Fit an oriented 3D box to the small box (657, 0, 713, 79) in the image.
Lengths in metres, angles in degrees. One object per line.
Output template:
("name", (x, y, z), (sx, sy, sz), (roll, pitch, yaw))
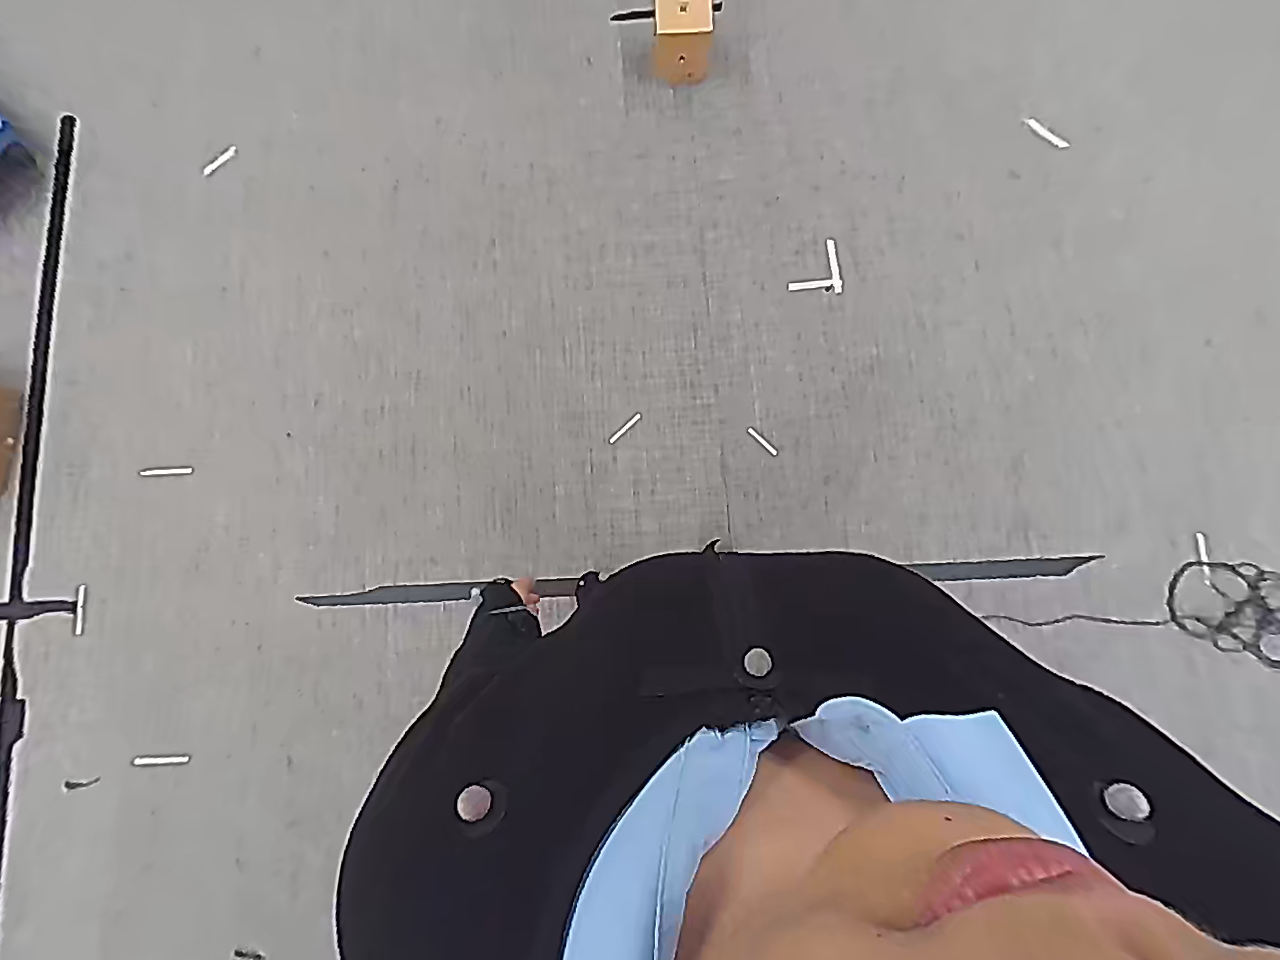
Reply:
("small box", (0.136, -1.372, 1.660), (0.168, 0.176, 0.179), (-1, 81, 2))
